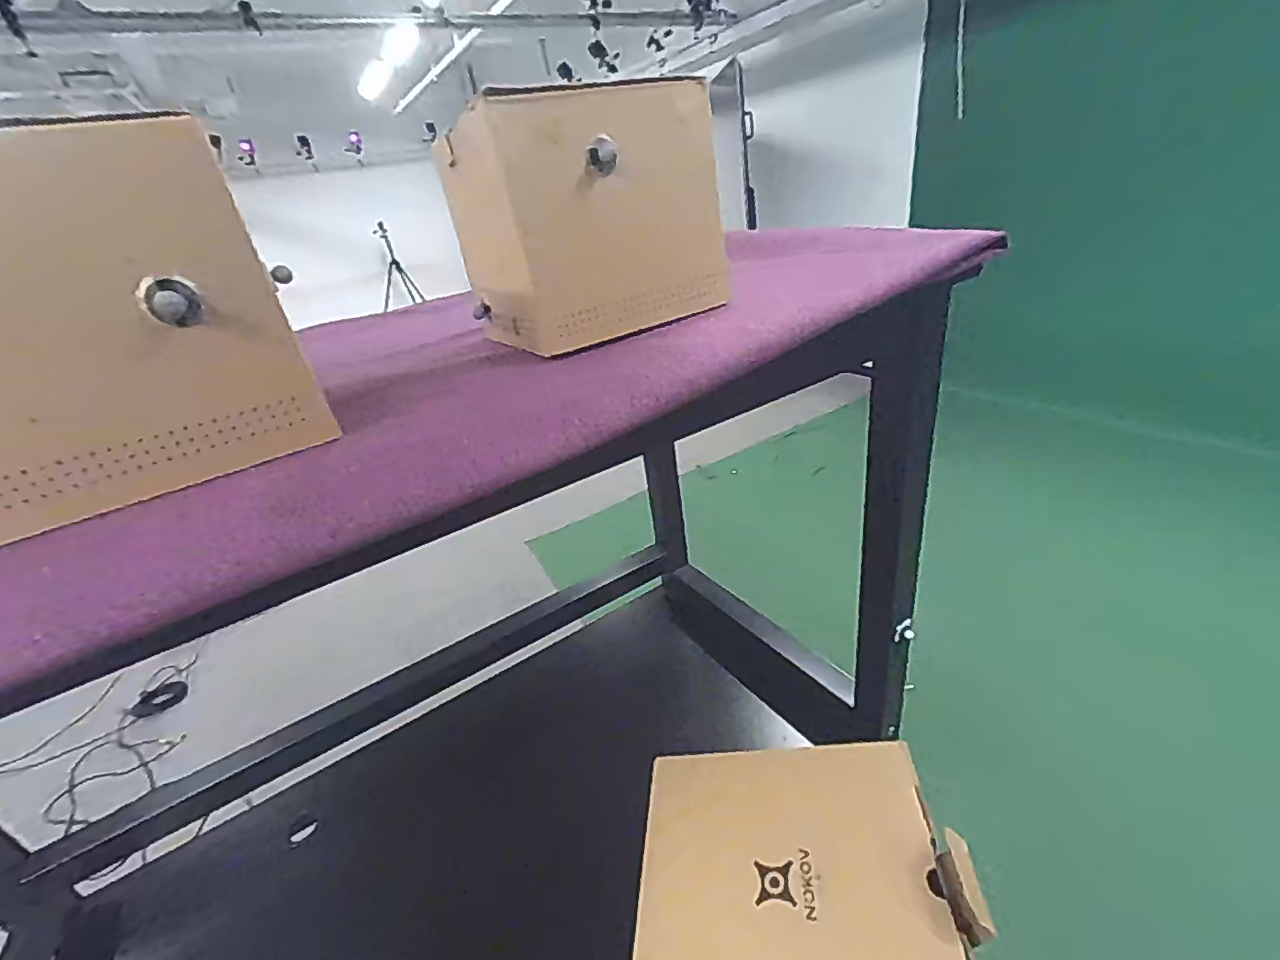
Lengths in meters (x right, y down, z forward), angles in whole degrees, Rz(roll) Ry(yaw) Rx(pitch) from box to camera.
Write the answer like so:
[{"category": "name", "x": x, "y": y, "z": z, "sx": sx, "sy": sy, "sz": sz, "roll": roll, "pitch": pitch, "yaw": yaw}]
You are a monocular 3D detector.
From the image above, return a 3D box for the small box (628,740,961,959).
[{"category": "small box", "x": 0.105, "y": 0.299, "z": 0.350, "sx": 0.179, "sy": 0.176, "sz": 0.168, "roll": -12, "pitch": 29, "yaw": 16}]

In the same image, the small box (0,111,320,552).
[{"category": "small box", "x": -0.305, "y": -0.087, "z": 0.304, "sx": 0.179, "sy": 0.176, "sz": 0.168, "roll": -26, "pitch": 32, "yaw": -26}]

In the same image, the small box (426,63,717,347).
[{"category": "small box", "x": -0.053, "y": -0.220, "z": 0.458, "sx": 0.179, "sy": 0.176, "sz": 0.168, "roll": -23, "pitch": 29, "yaw": -23}]
